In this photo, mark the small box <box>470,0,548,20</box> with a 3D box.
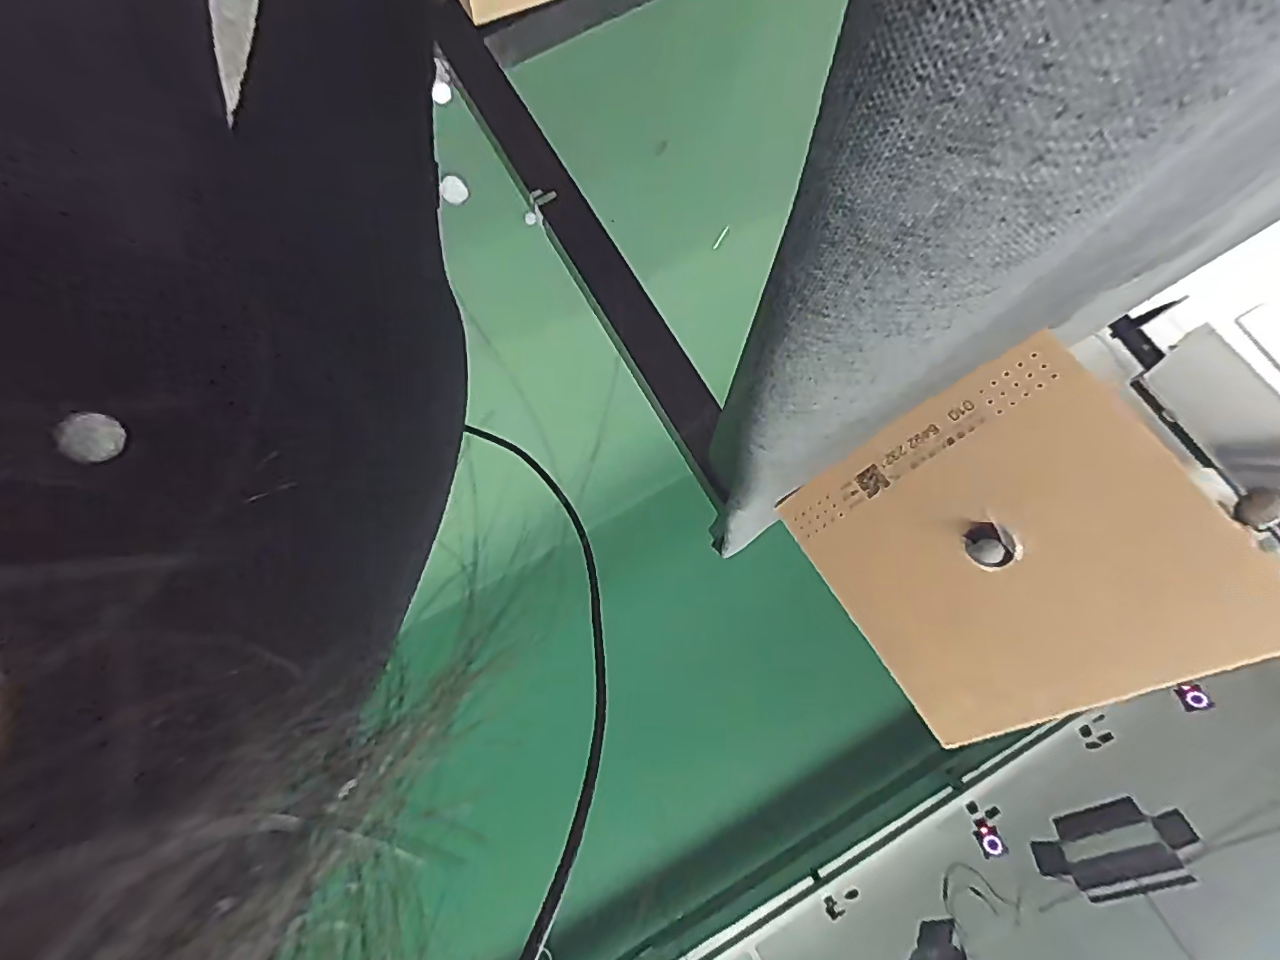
[{"bbox_3d":[-0.128,-0.593,0.497,0.168,0.176,0.179,-27,169,-11],"label":"small box"}]

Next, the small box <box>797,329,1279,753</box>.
[{"bbox_3d":[0.230,0.025,0.335,0.179,0.176,0.168,-16,159,-51],"label":"small box"}]
